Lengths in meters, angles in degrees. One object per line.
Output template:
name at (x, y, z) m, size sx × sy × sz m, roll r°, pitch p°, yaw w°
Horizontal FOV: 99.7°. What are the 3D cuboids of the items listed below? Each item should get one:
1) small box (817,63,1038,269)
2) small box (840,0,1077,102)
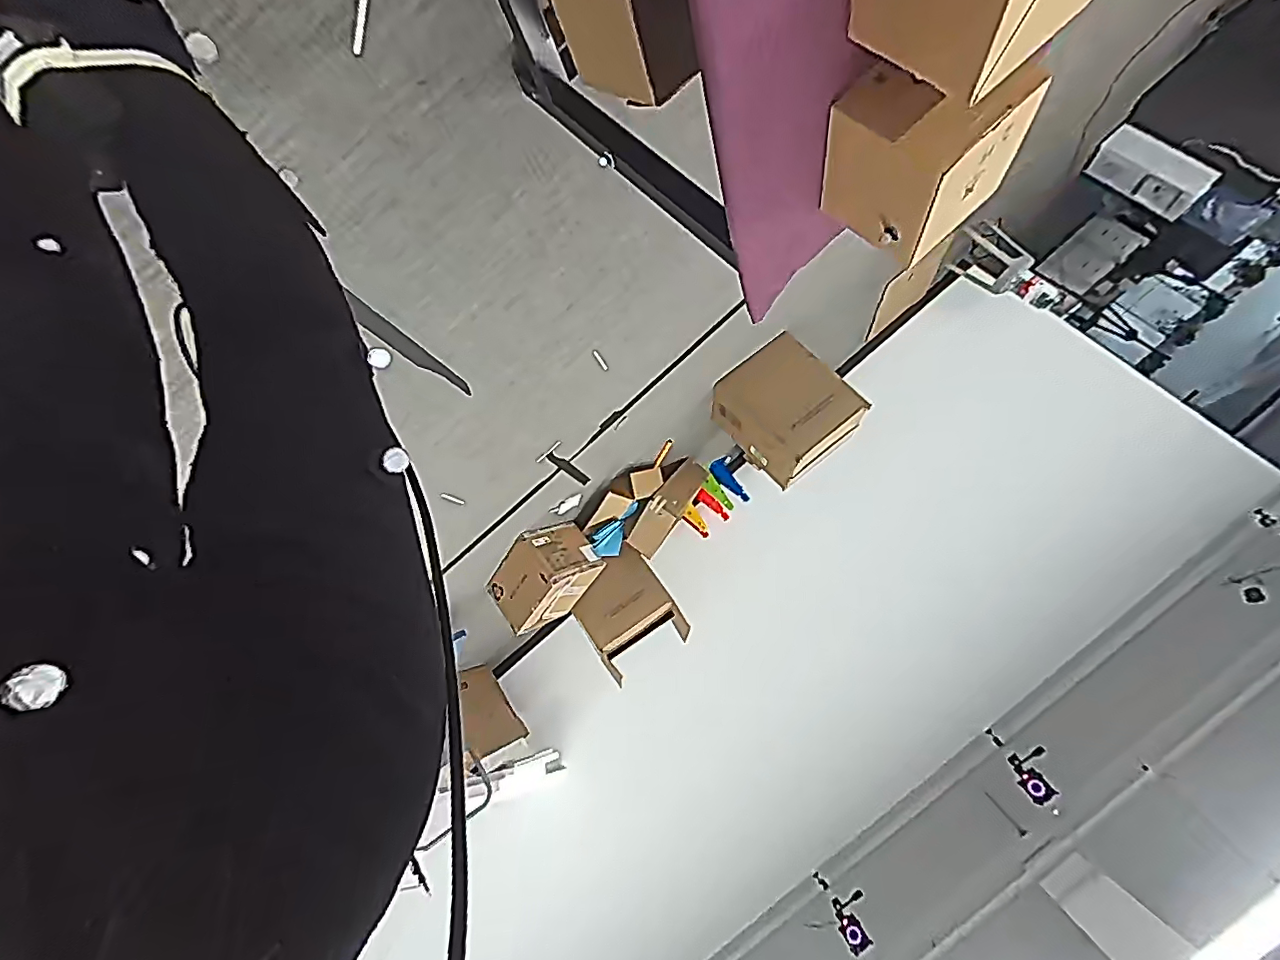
small box at (0.357, -0.428, 0.713) m, size 0.168 × 0.176 × 0.179 m, roll -43°, pitch 160°, yaw -1°
small box at (0.310, -0.498, 0.482) m, size 0.168 × 0.176 × 0.179 m, roll -42°, pitch 159°, yaw 0°
